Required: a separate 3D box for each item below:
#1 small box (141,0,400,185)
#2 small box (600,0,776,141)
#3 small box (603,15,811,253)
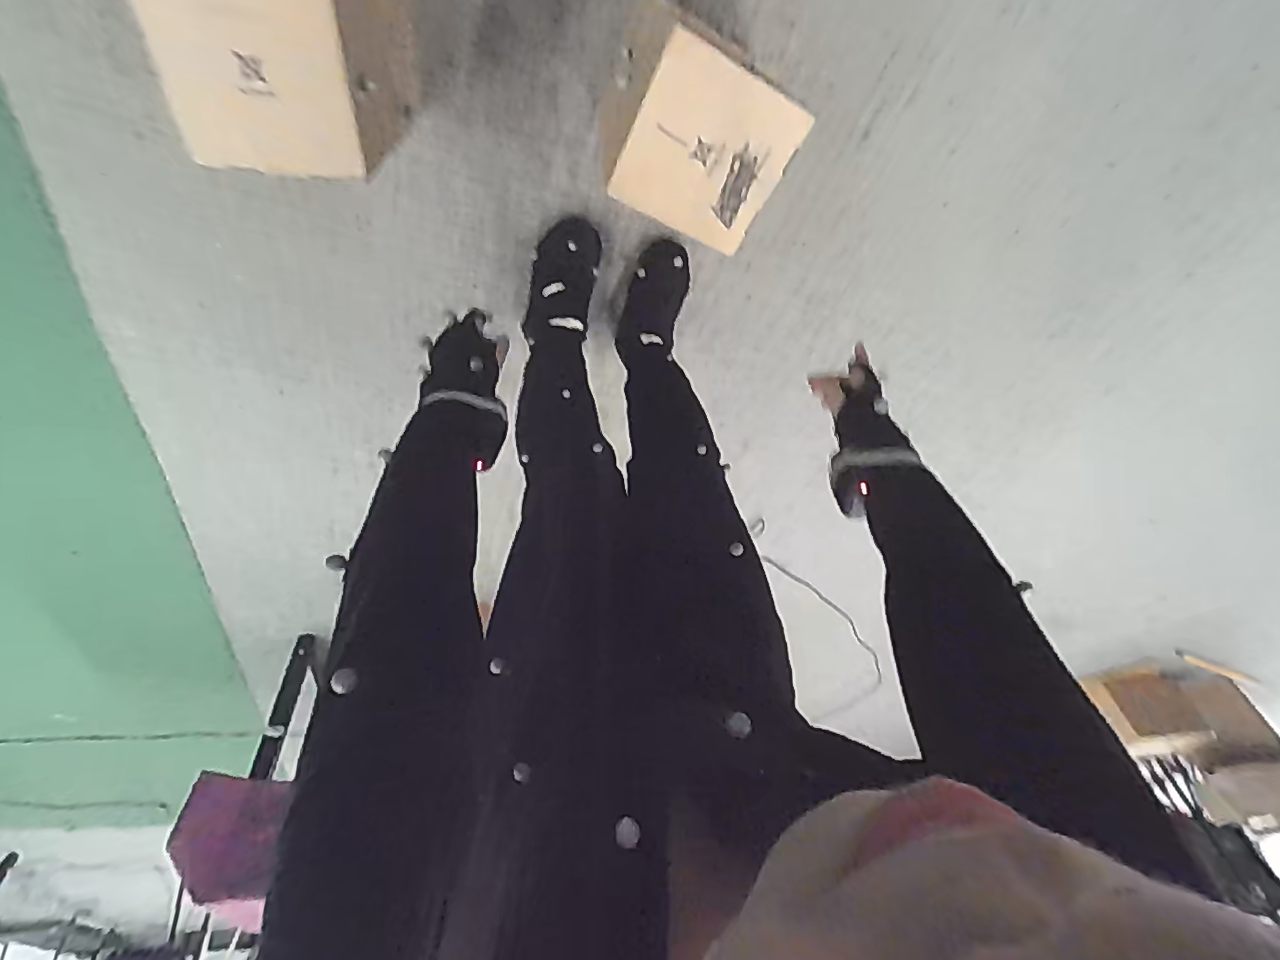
[{"bbox_3d":[-0.364,-0.440,0.566,0.168,0.176,0.179,2,135,-10],"label":"small box"},{"bbox_3d":[0.055,-0.539,0.755,0.179,0.176,0.168,15,132,-22],"label":"small box"},{"bbox_3d":[0.066,-0.414,0.647,0.179,0.176,0.168,16,132,-21],"label":"small box"}]
